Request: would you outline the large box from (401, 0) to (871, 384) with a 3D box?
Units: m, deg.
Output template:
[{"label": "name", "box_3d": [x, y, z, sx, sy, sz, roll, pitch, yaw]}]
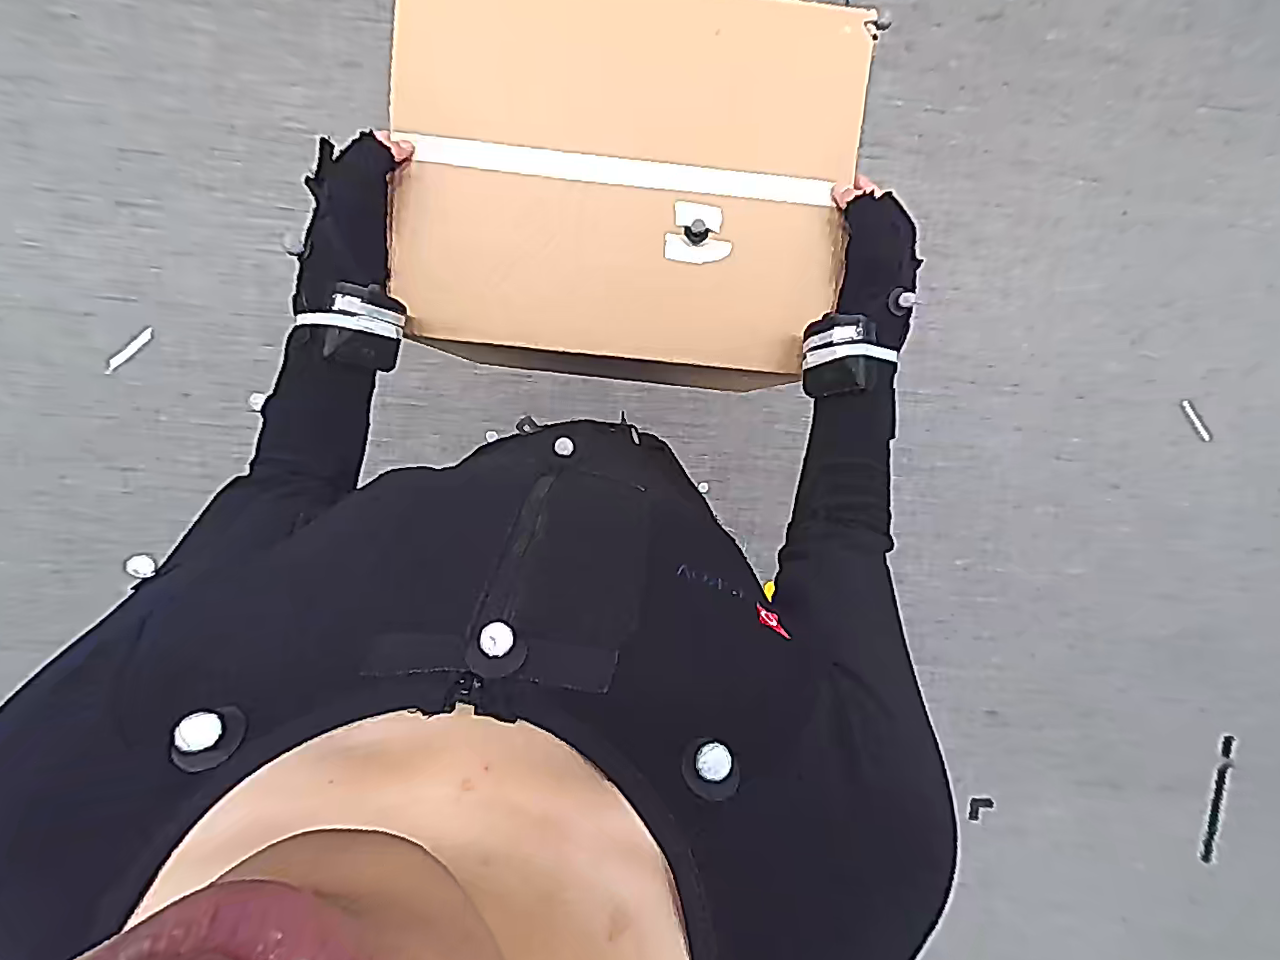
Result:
[{"label": "large box", "box_3d": [-0.014, -0.290, 0.625, 0.408, 0.320, 0.320, 5, 97, -3]}]
